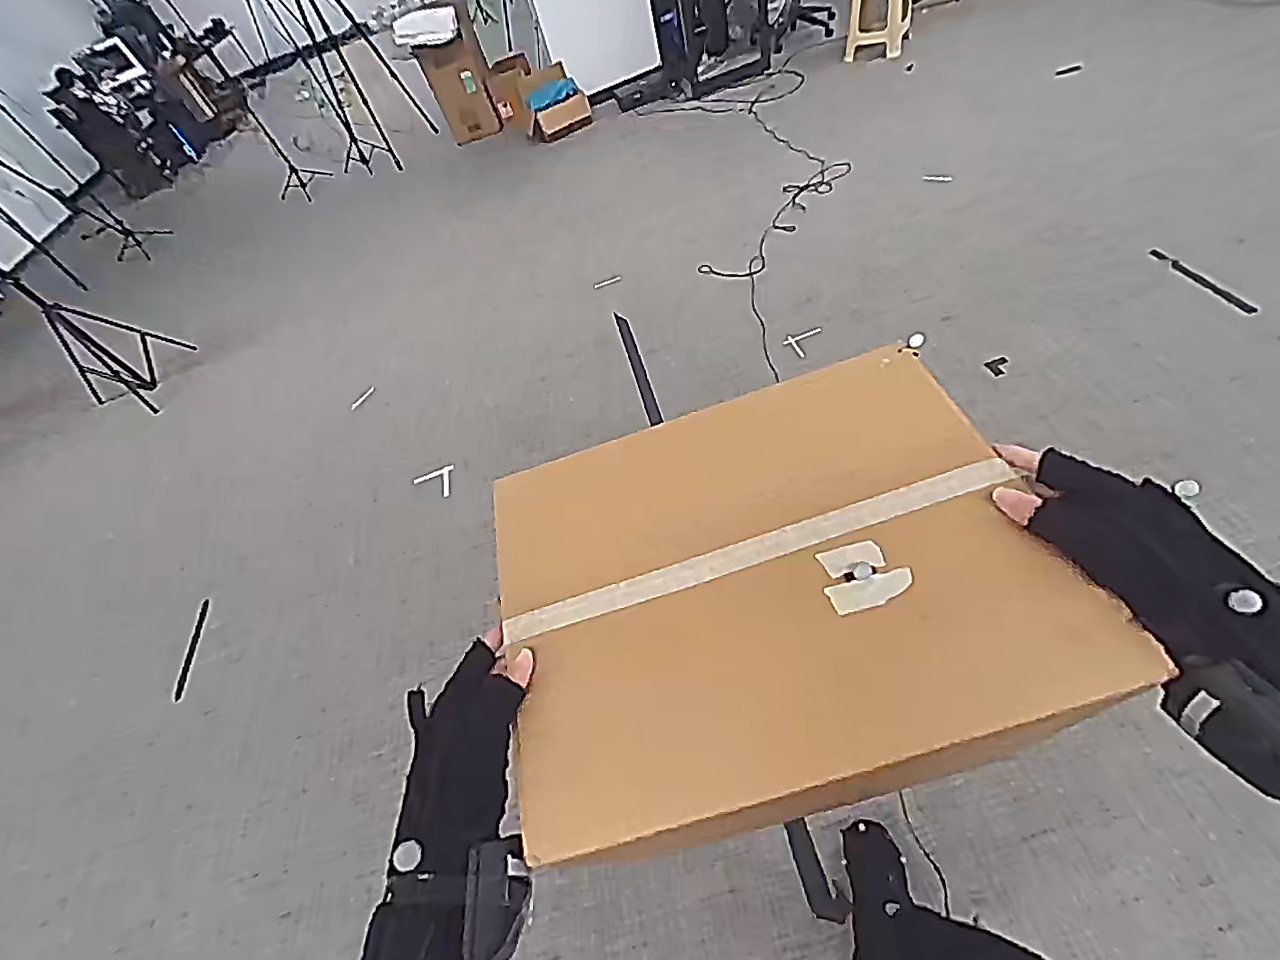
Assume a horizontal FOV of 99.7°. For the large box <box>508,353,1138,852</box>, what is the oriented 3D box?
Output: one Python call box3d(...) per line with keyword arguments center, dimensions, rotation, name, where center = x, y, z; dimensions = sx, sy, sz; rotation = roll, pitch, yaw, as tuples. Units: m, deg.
box3d(center=(0.124, 0.142, 0.551), dimensions=(0.408, 0.320, 0.320), rotation=(-19, 54, 3), name="large box")
